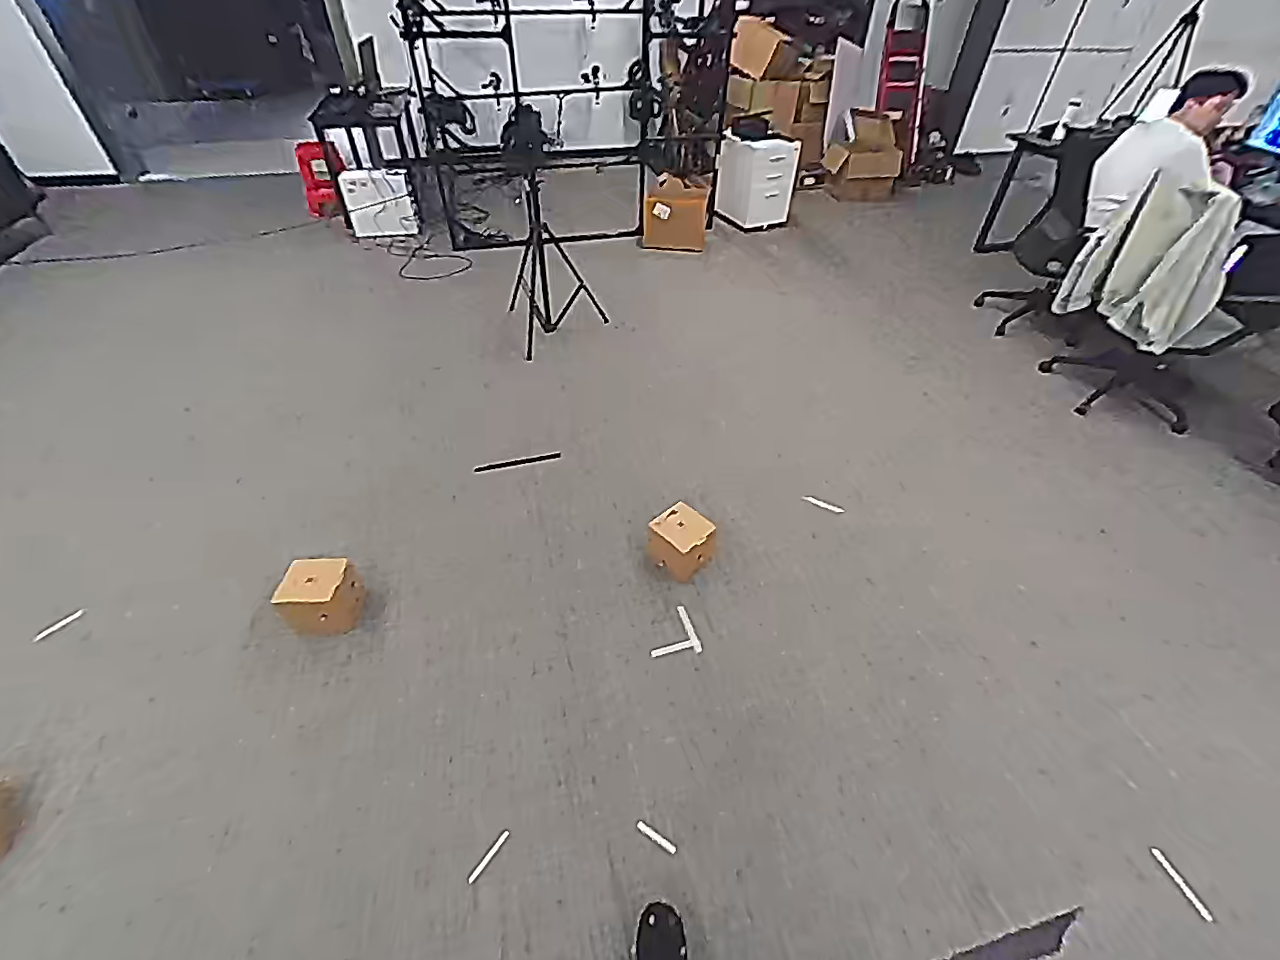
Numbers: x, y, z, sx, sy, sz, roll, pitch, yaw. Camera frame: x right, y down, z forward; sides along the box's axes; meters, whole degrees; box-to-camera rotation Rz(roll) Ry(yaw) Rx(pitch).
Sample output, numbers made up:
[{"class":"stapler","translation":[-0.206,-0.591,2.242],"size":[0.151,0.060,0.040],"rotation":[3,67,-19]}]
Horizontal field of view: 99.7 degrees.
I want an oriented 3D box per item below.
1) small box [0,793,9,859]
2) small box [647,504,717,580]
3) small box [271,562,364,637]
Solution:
[{"class":"small box","translation":[-1.587,0.804,1.213],"size":[0.168,0.176,0.179],"rotation":[-28,51,-27]},{"class":"small box","translation":[0.141,0.221,1.872],"size":[0.168,0.176,0.179],"rotation":[-33,53,-30]},{"class":"small box","translation":[-0.997,0.375,1.692],"size":[0.179,0.176,0.168],"rotation":[-2,41,-2]}]
